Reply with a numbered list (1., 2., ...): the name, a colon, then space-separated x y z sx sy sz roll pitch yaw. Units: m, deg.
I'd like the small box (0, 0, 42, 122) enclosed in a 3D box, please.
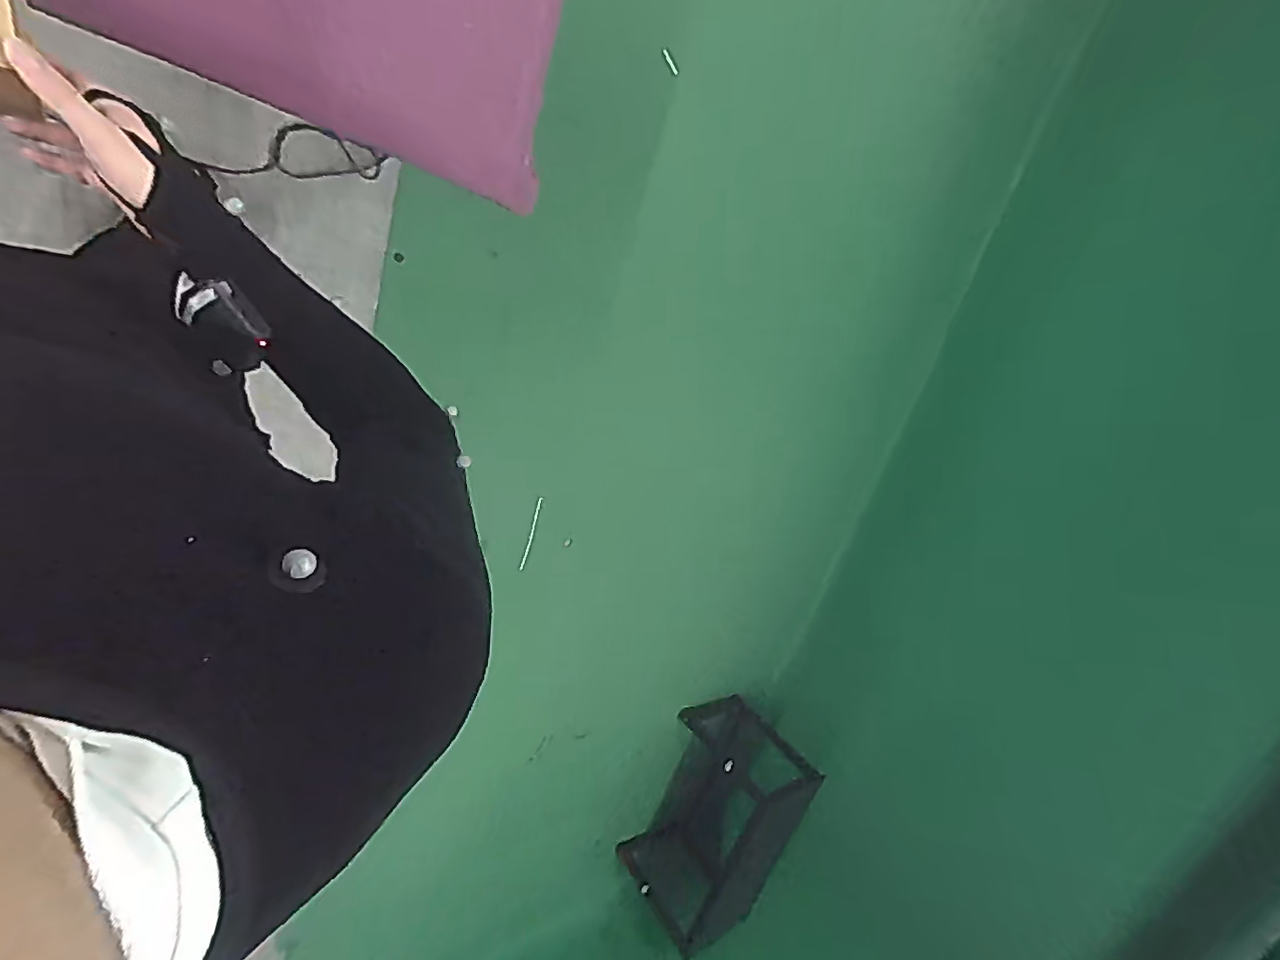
1. small box: -0.534 -0.368 0.355 0.168 0.176 0.179 -10 110 -42
